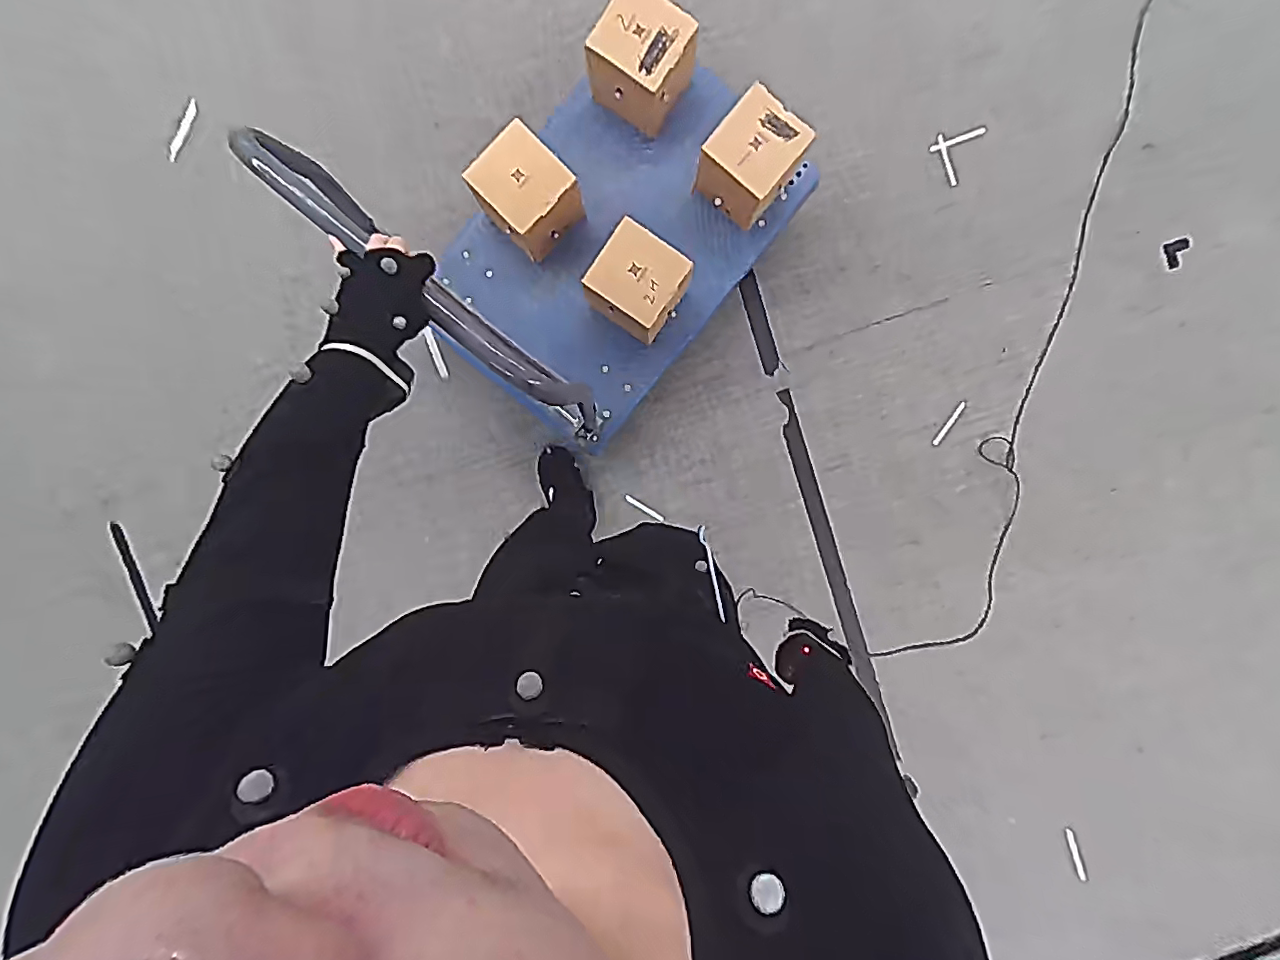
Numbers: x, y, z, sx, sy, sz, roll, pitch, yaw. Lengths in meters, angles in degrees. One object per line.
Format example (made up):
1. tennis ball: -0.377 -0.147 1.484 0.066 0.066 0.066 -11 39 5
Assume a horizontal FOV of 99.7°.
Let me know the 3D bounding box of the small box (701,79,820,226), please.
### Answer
1. small box: 0.250 -0.697 1.174 0.168 0.176 0.179 41 94 -2

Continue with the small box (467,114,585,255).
1. small box: -0.239 -0.630 1.179 0.179 0.176 0.168 45 92 -4

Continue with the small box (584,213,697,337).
1. small box: 0.000 -0.437 1.188 0.179 0.176 0.168 35 93 -2
